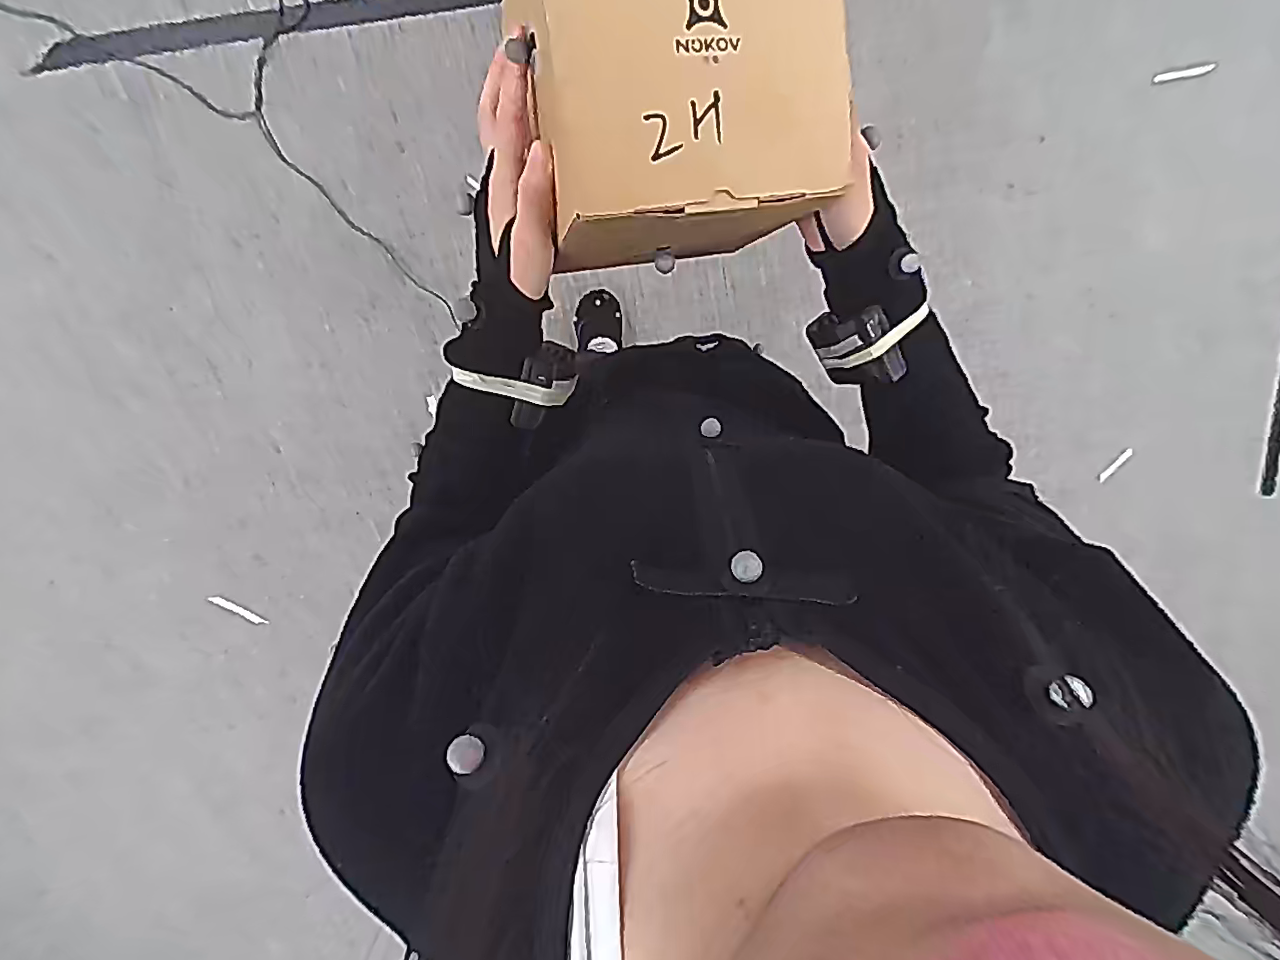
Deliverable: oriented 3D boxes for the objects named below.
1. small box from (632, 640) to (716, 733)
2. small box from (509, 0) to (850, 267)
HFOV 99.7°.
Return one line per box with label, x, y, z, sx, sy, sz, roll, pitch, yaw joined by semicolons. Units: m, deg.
small box;0.086;0.498;1.265;0.179;0.176;0.168;-12;106;-1
small box;0.011;-0.254;0.353;0.168;0.176;0.179;-12;103;-12
